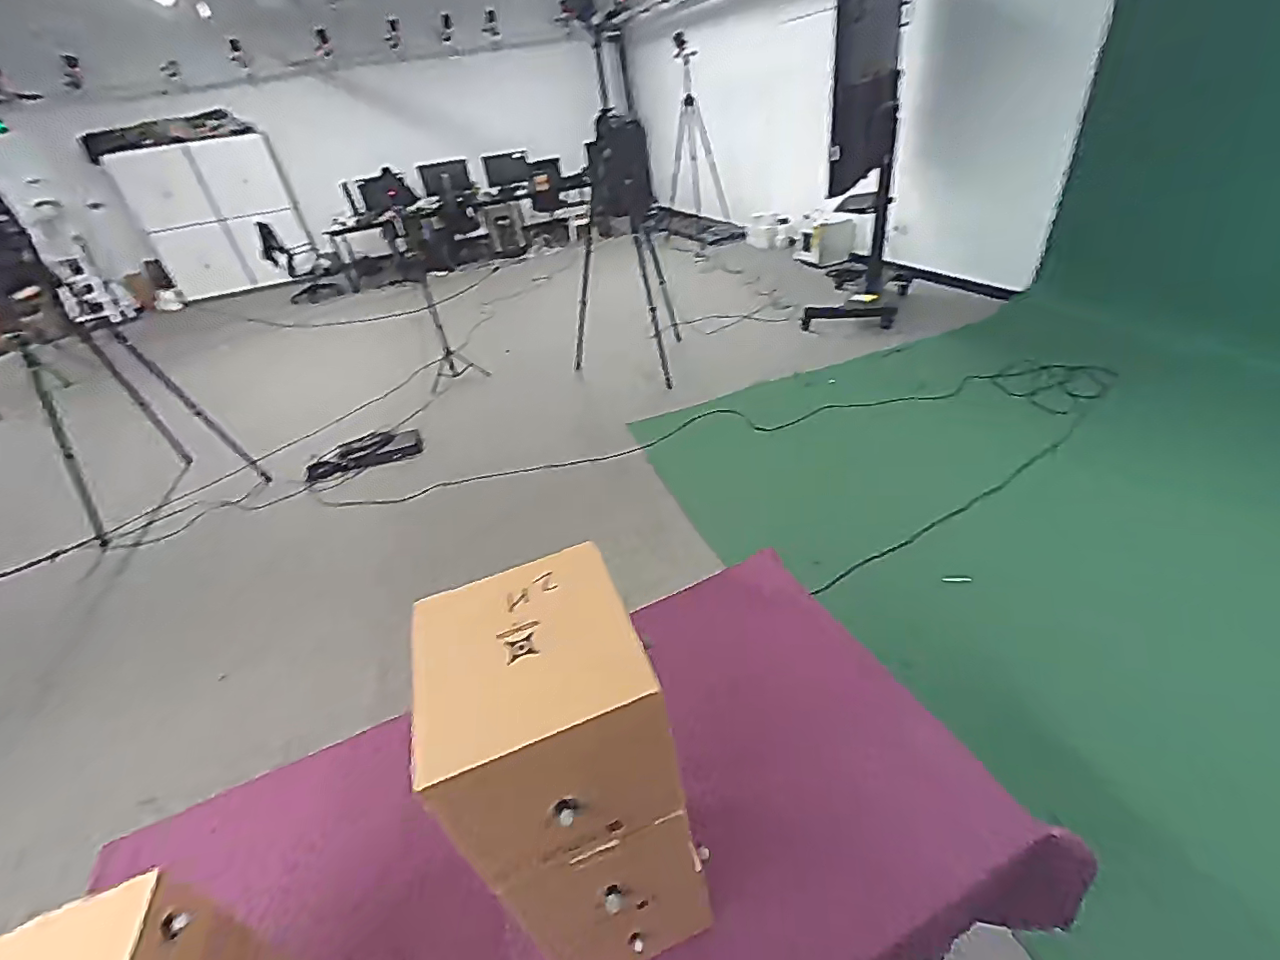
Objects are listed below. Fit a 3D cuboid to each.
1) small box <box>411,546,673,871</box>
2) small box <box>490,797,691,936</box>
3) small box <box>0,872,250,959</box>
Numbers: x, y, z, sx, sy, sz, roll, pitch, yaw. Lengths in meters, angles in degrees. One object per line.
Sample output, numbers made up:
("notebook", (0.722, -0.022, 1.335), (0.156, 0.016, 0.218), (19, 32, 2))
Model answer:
("small box", (-0.080, 0.192, 0.461), (0.168, 0.176, 0.179), (-18, 35, -12))
("small box", (-0.056, 0.325, 0.557), (0.168, 0.176, 0.179), (-17, 36, -10))
("small box", (-0.456, 0.476, 0.436), (0.168, 0.176, 0.179), (-19, 34, -13))
